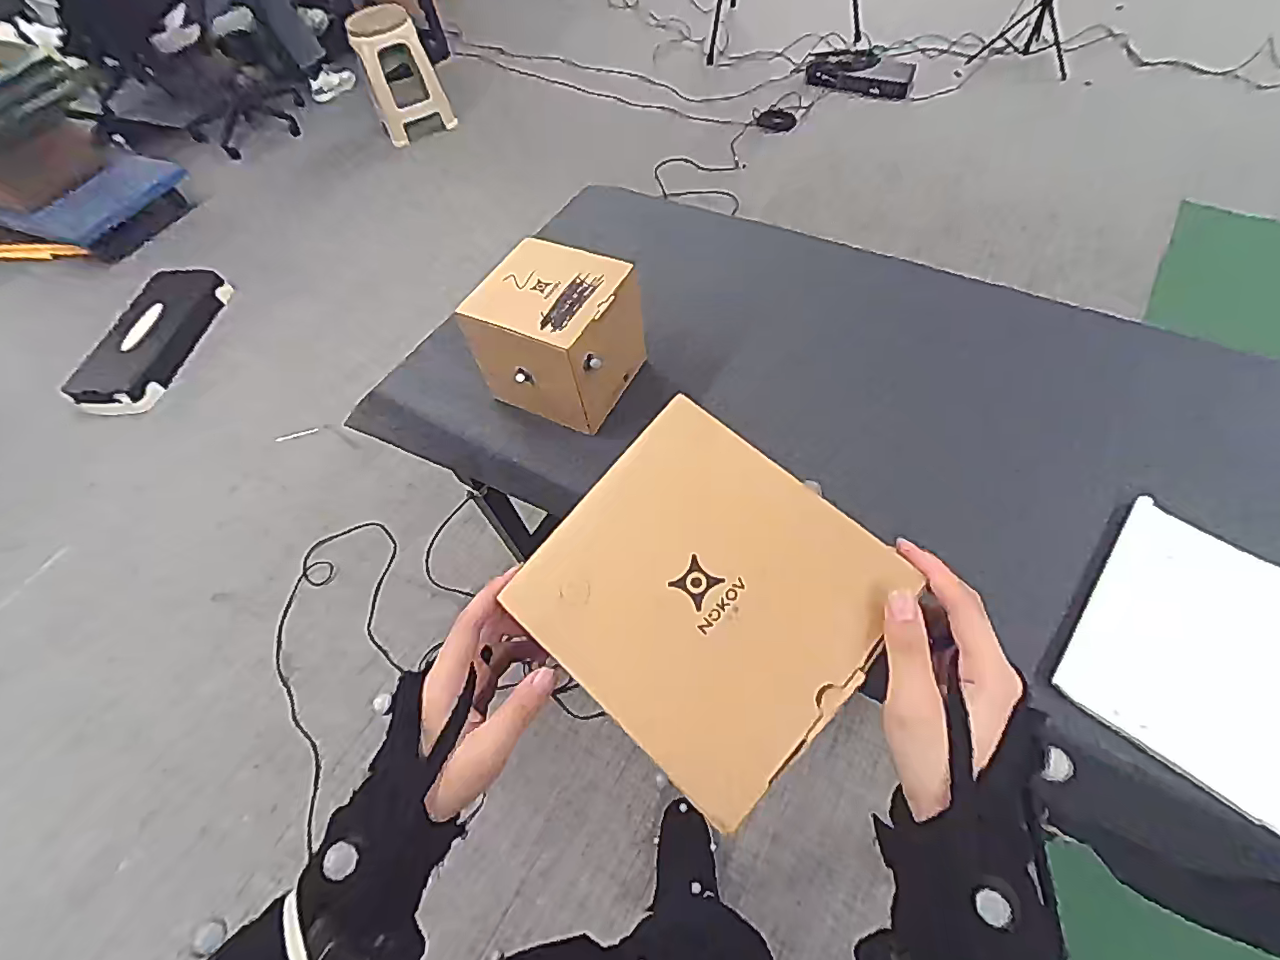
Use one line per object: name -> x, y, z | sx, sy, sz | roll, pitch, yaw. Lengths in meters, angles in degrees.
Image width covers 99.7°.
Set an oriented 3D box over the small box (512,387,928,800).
small box -> 0.049, 0.074, 0.379 | 0.179, 0.176, 0.168 | 39, 83, 16
